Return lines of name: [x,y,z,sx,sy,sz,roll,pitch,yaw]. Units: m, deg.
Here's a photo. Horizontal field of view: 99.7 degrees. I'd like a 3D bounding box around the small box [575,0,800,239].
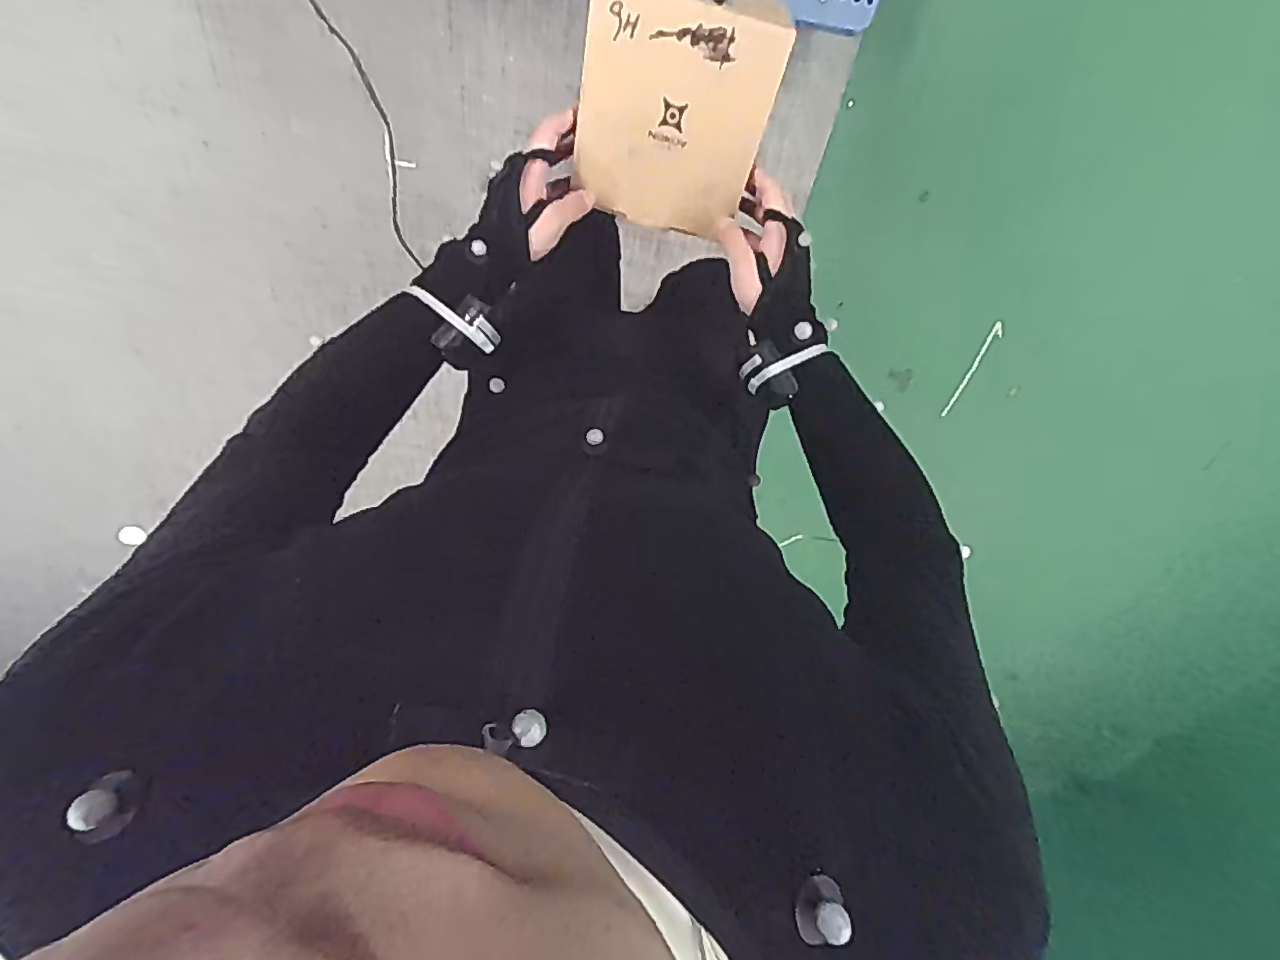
small box: [0.043,-0.379,0.535,0.168,0.176,0.179,14,139,-5]
